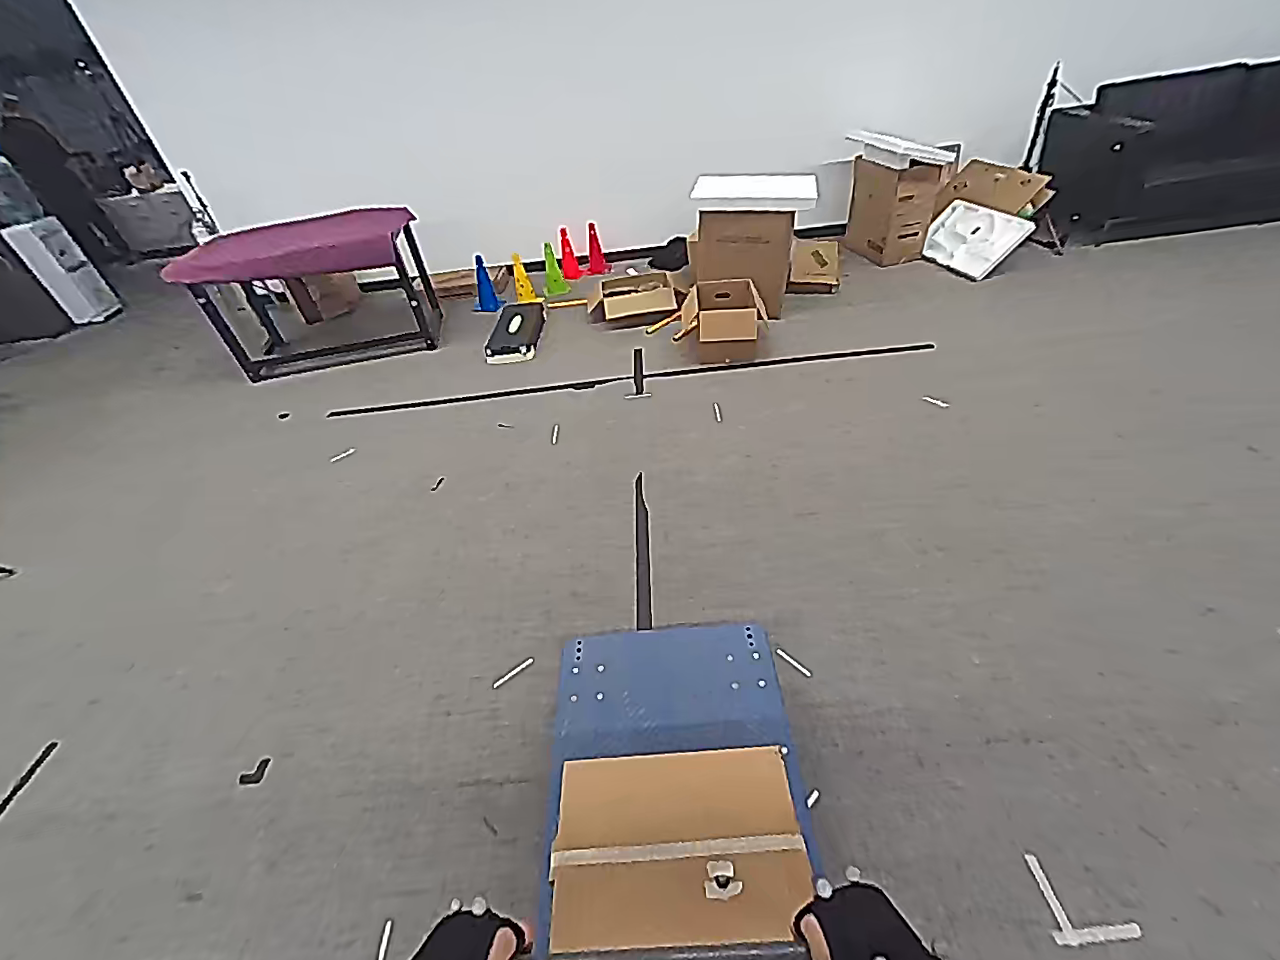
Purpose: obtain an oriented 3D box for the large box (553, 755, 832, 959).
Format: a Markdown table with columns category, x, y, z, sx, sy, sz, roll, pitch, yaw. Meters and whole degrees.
| category | x | y | z | sx | sy | sz | roll | pitch | yaw |
| --- | --- | --- | --- | --- | --- | --- | --- | --- | --- |
| large box | 0.078 | 0.726 | 0.953 | 0.408 | 0.320 | 0.320 | -5 | 40 | 2 |
